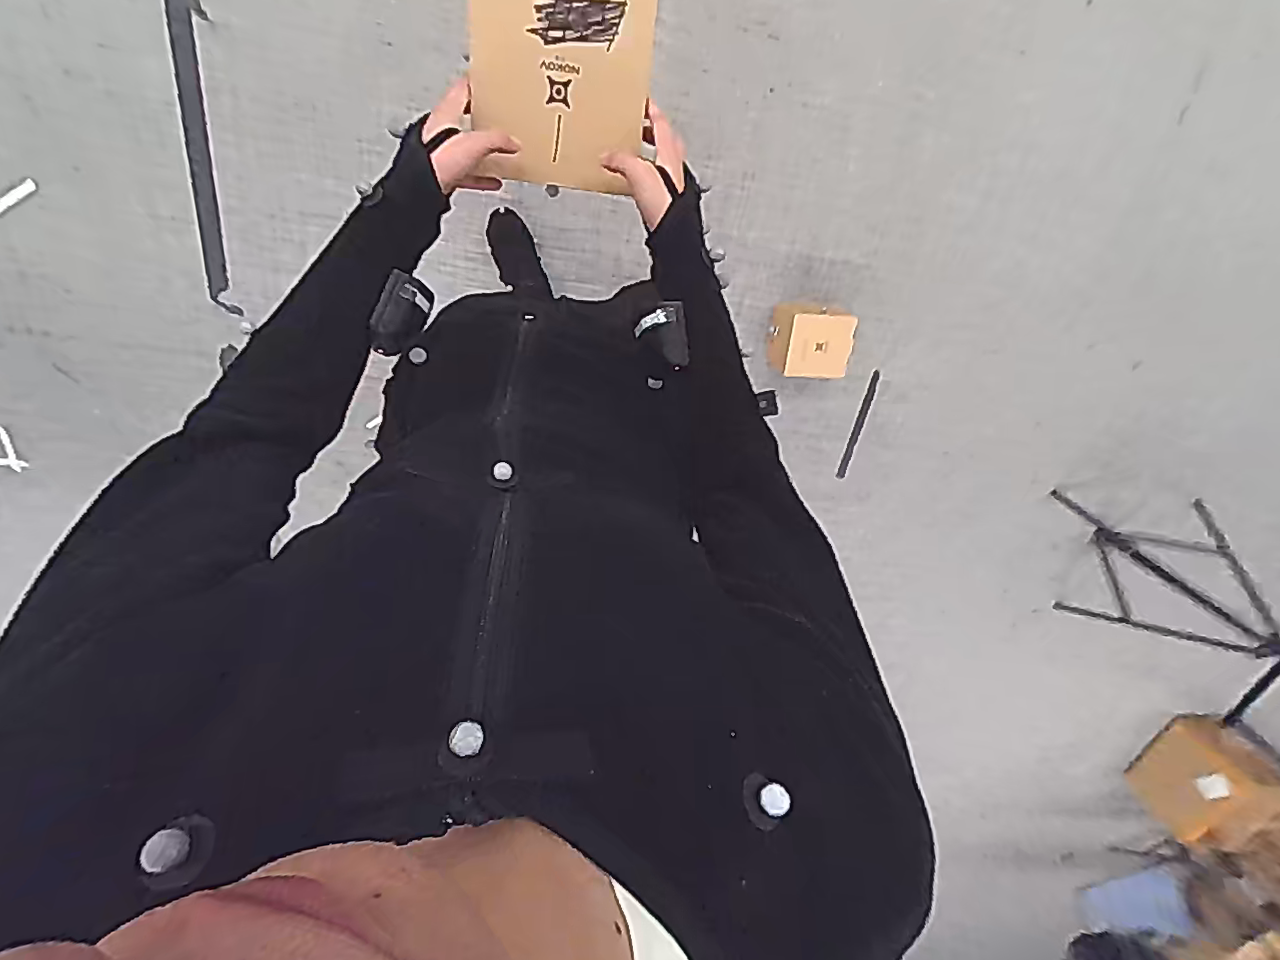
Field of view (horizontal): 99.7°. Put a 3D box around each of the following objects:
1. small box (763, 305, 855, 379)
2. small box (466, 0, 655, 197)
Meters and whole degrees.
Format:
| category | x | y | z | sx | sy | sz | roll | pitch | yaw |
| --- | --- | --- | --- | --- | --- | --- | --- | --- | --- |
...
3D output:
| category | x | y | z | sx | sy | sz | roll | pitch | yaw |
| --- | --- | --- | --- | --- | --- | --- | --- | --- | --- |
| small box | 0.465 | -0.389 | 1.511 | 0.179 | 0.176 | 0.168 | 2 | 117 | -7 |
| small box | -0.087 | -0.413 | 0.570 | 0.168 | 0.176 | 0.179 | 4 | 121 | -9 |
